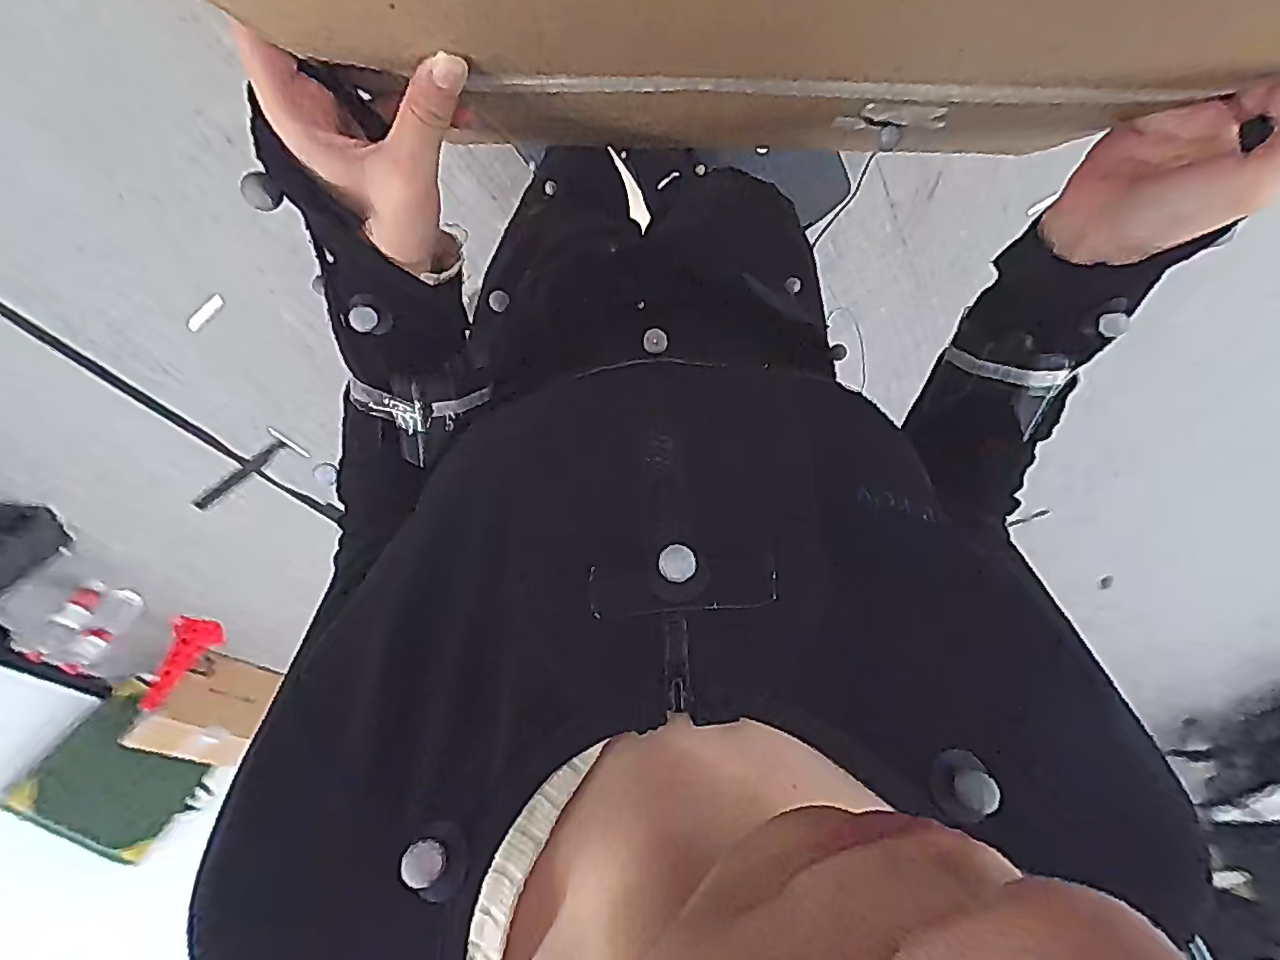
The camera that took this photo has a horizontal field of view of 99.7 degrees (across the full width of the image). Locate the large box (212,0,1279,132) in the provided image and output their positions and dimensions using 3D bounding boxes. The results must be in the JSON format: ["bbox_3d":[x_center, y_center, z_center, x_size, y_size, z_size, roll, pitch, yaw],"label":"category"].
[{"bbox_3d":[0.054,-0.321,0.173,0.408,0.320,0.320,0,114,1],"label":"large box"}]
